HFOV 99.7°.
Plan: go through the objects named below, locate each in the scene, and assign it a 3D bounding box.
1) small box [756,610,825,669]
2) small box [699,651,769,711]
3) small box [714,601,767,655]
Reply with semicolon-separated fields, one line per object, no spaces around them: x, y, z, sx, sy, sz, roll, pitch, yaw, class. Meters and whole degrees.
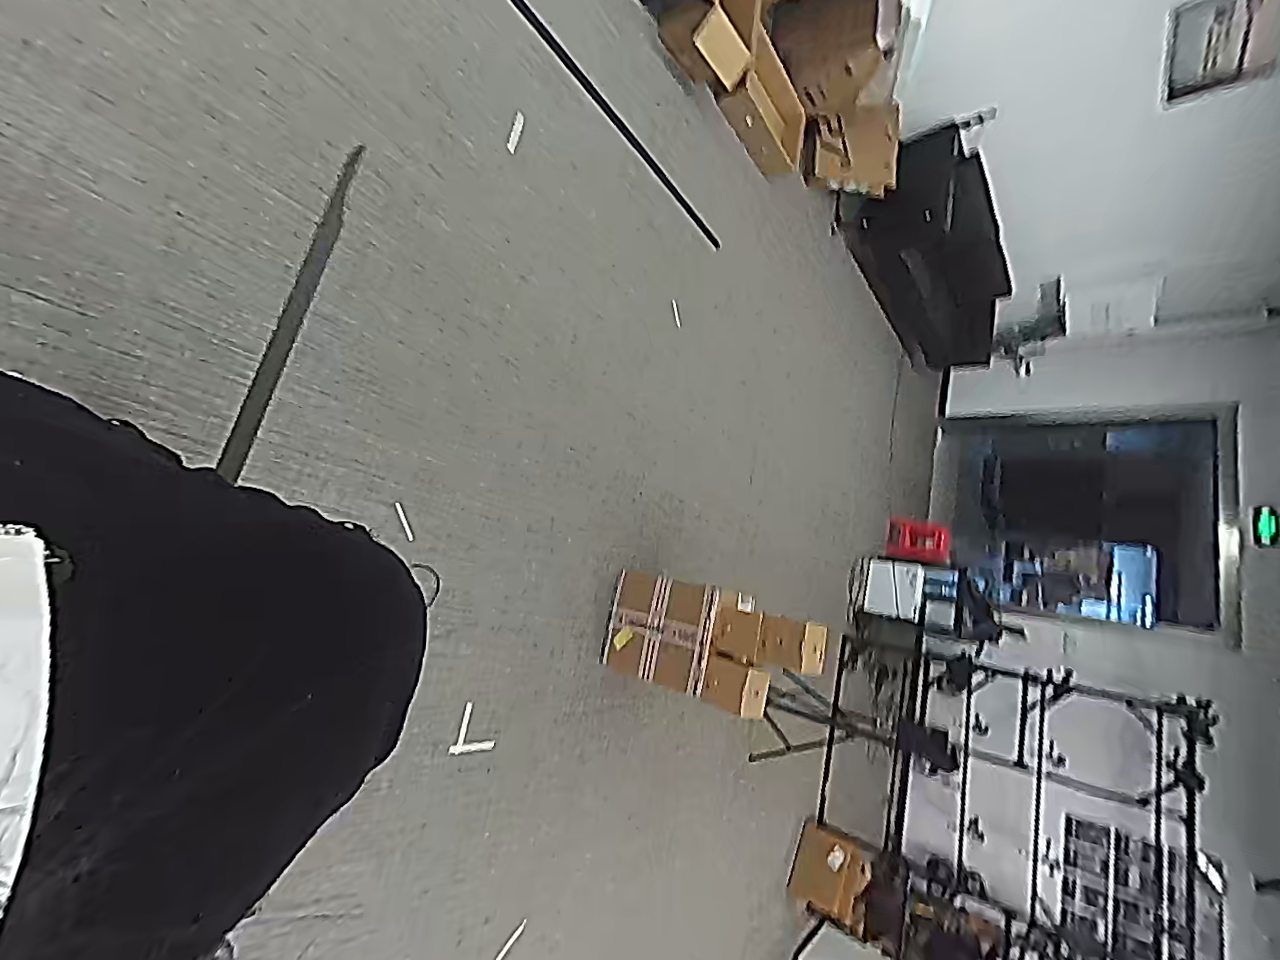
0.532;0.564;1.920;0.179;0.176;0.168;24;73;-44;small box
0.342;0.729;1.962;0.179;0.176;0.168;25;74;-45;small box
0.404;0.555;2.022;0.179;0.176;0.168;22;75;-45;small box
